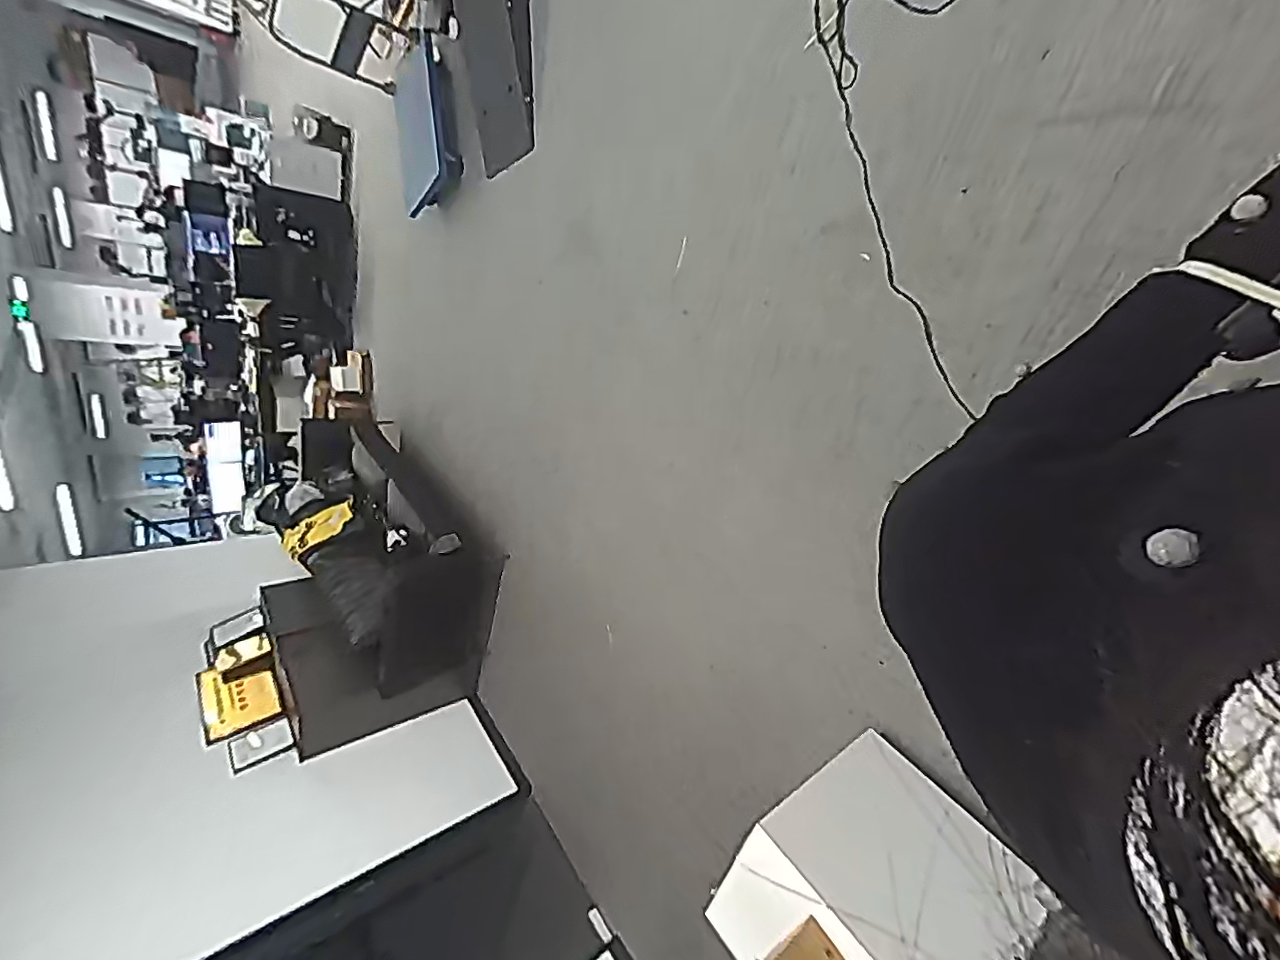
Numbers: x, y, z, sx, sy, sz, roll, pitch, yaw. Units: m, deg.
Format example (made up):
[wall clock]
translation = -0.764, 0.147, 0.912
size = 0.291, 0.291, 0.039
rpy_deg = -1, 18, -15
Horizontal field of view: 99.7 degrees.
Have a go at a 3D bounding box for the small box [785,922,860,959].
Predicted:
[small box]
translation = 0.357, 1.044, 1.076
size = 0.168, 0.176, 0.179
rpy_deg = 44, 127, 36
